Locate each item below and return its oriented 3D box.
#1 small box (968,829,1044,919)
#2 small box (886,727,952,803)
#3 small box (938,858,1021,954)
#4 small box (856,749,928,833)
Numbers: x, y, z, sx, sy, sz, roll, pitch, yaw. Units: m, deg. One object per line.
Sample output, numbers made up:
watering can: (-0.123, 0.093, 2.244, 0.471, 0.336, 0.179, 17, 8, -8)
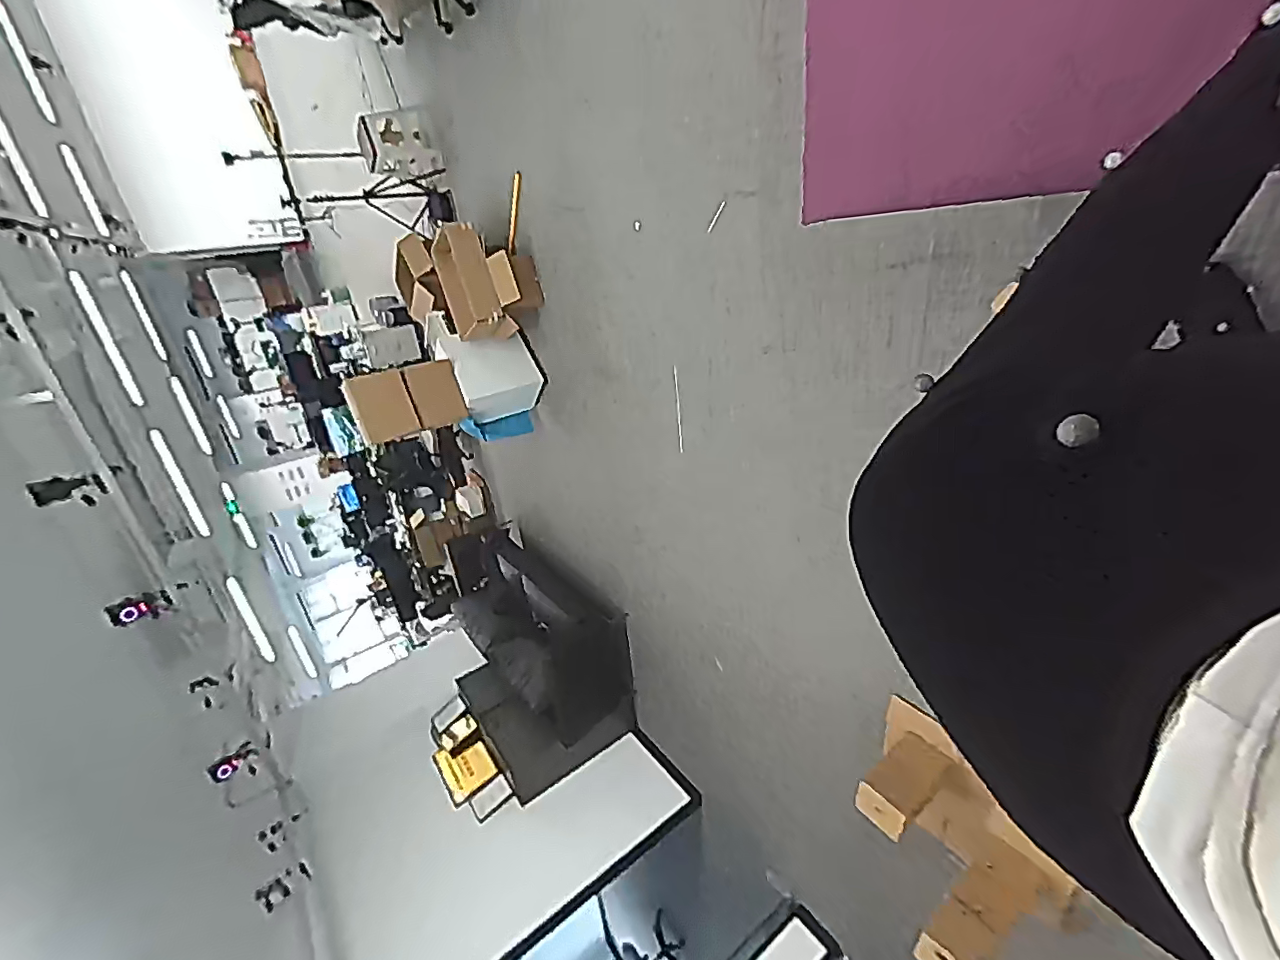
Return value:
small box: (1.302, 1.403, 1.943, 0.179, 0.176, 0.168, 28, 133, 47)
small box: (1.075, 1.099, 2.107, 0.179, 0.176, 0.168, 30, 134, 46)
small box: (1.170, 1.455, 1.866, 0.179, 0.176, 0.168, 28, 131, 46)
small box: (0.945, 1.157, 2.025, 0.179, 0.176, 0.168, 32, 135, 44)
